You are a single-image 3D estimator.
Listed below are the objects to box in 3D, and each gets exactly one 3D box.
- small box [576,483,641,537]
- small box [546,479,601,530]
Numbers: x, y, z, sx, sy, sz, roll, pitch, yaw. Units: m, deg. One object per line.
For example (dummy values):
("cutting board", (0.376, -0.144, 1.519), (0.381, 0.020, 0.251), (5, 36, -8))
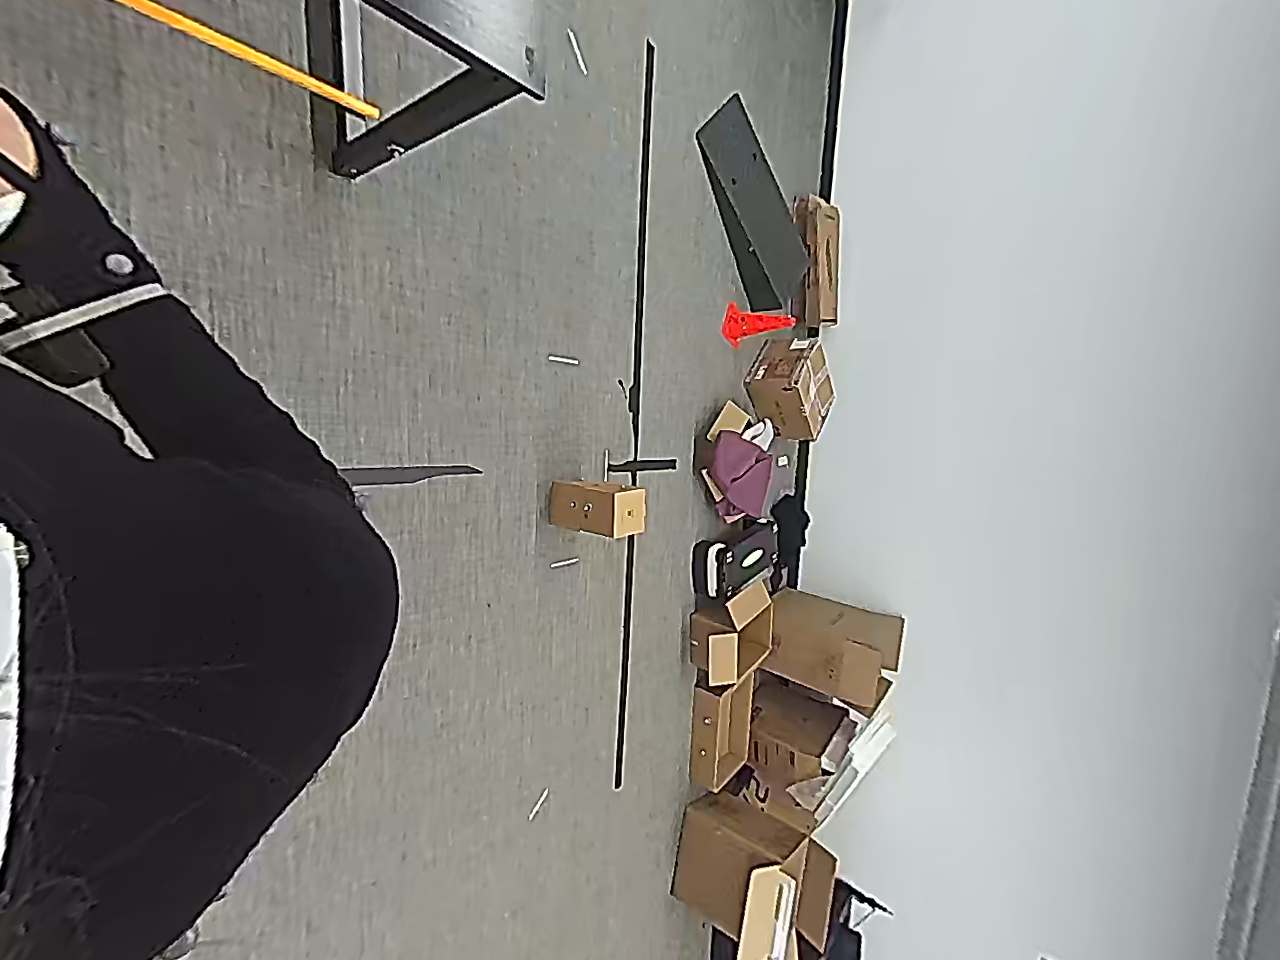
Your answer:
("small box", (-0.117, 0.104, 1.999), (0.179, 0.176, 0.168), (-8, 102, -50))
("small box", (-0.246, 0.090, 2.097), (0.168, 0.176, 0.179), (-1, 99, -52))
